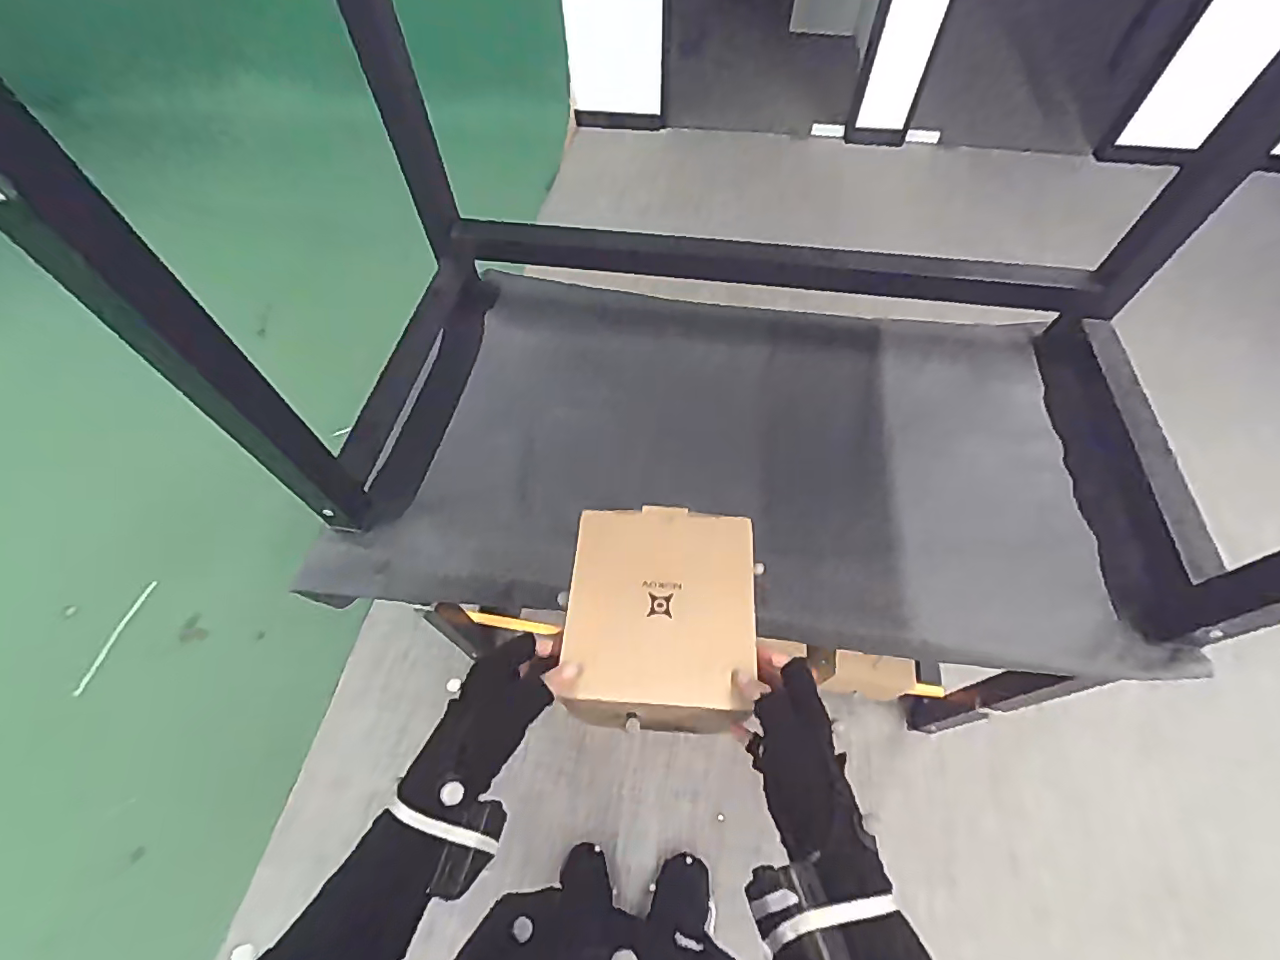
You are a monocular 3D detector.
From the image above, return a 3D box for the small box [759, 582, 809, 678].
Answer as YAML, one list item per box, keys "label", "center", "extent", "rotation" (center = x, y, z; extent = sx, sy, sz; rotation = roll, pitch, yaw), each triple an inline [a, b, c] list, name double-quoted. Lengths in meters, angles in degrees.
- label: "small box"
  center: [0.292, 0.352, 1.262]
  extent: [0.168, 0.176, 0.179]
  rotation: [7, 59, 5]

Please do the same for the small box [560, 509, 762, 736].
- label: "small box"
  center: [0.026, 0.147, 0.538]
  extent: [0.168, 0.176, 0.179]
  rotation: [2, 56, 4]
